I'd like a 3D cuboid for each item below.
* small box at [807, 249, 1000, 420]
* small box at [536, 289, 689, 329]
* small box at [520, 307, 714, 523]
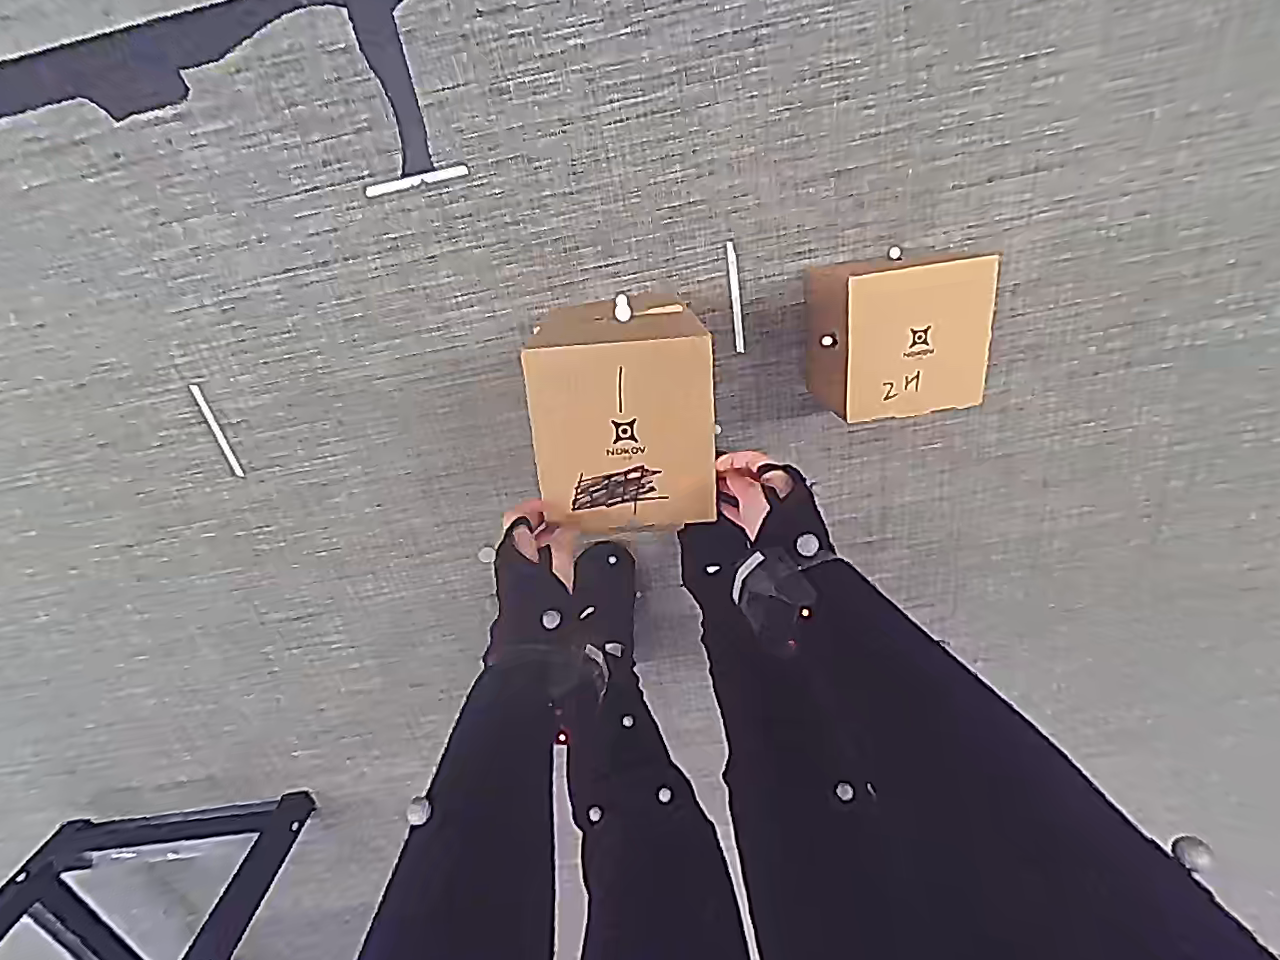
[{"bbox_3d":[0.318,-0.193,0.692,0.168,0.176,0.179,-7,115,3],"label":"small box"},{"bbox_3d":[-0.027,-0.148,0.706,0.179,0.176,0.168,-8,115,1],"label":"small box"},{"bbox_3d":[-0.017,-0.074,0.558,0.168,0.176,0.179,-4,114,0],"label":"small box"}]
